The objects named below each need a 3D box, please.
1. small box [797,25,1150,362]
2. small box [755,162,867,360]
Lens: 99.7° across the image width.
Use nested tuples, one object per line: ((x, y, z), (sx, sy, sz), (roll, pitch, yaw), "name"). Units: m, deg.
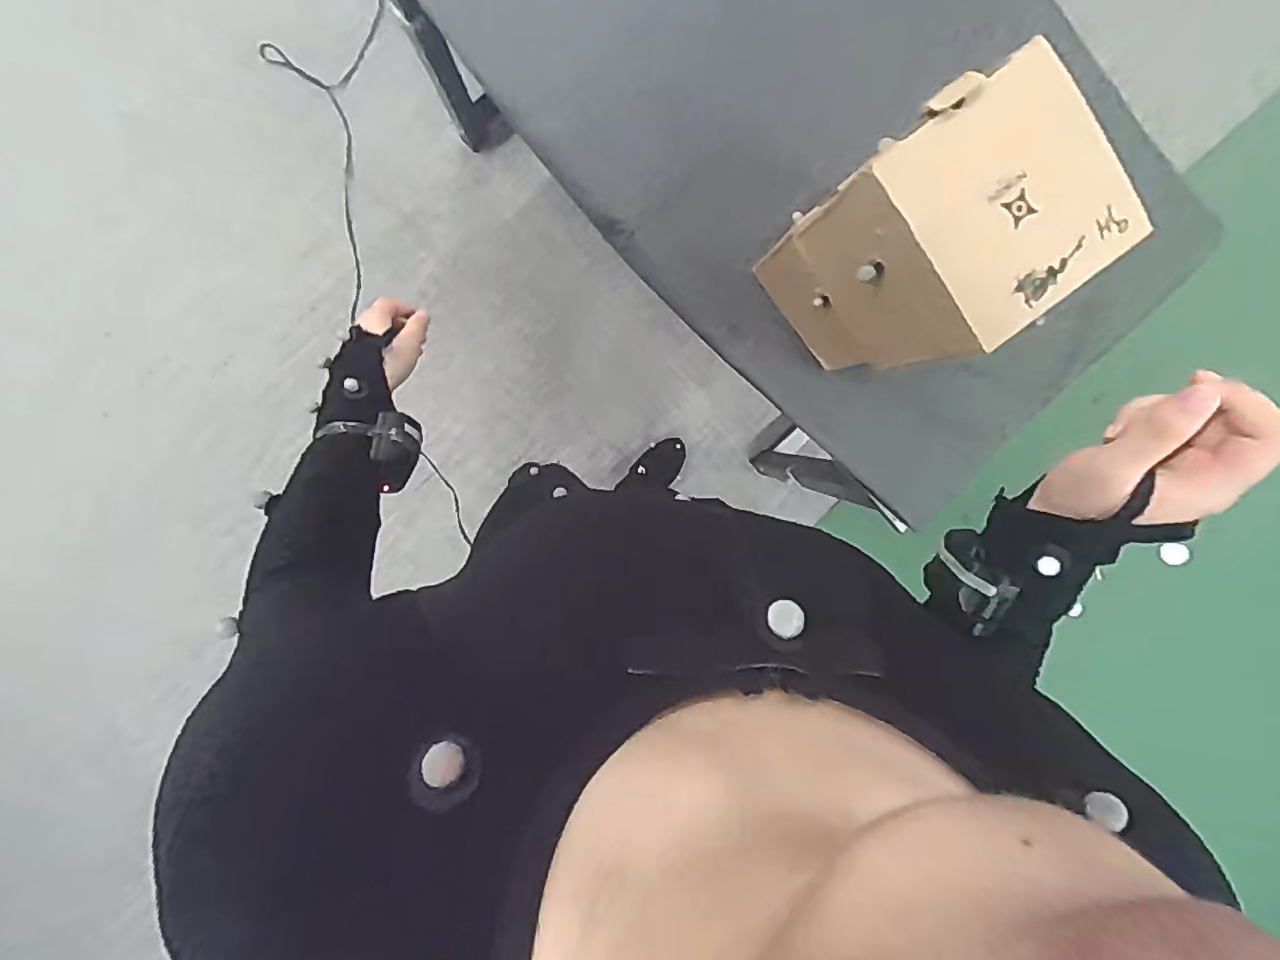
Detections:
((0.272, -0.228, 0.485), (0.168, 0.176, 0.179), (-37, 96, 0), "small box")
((0.265, -0.263, 0.647), (0.168, 0.176, 0.179), (-40, 97, 1), "small box")
